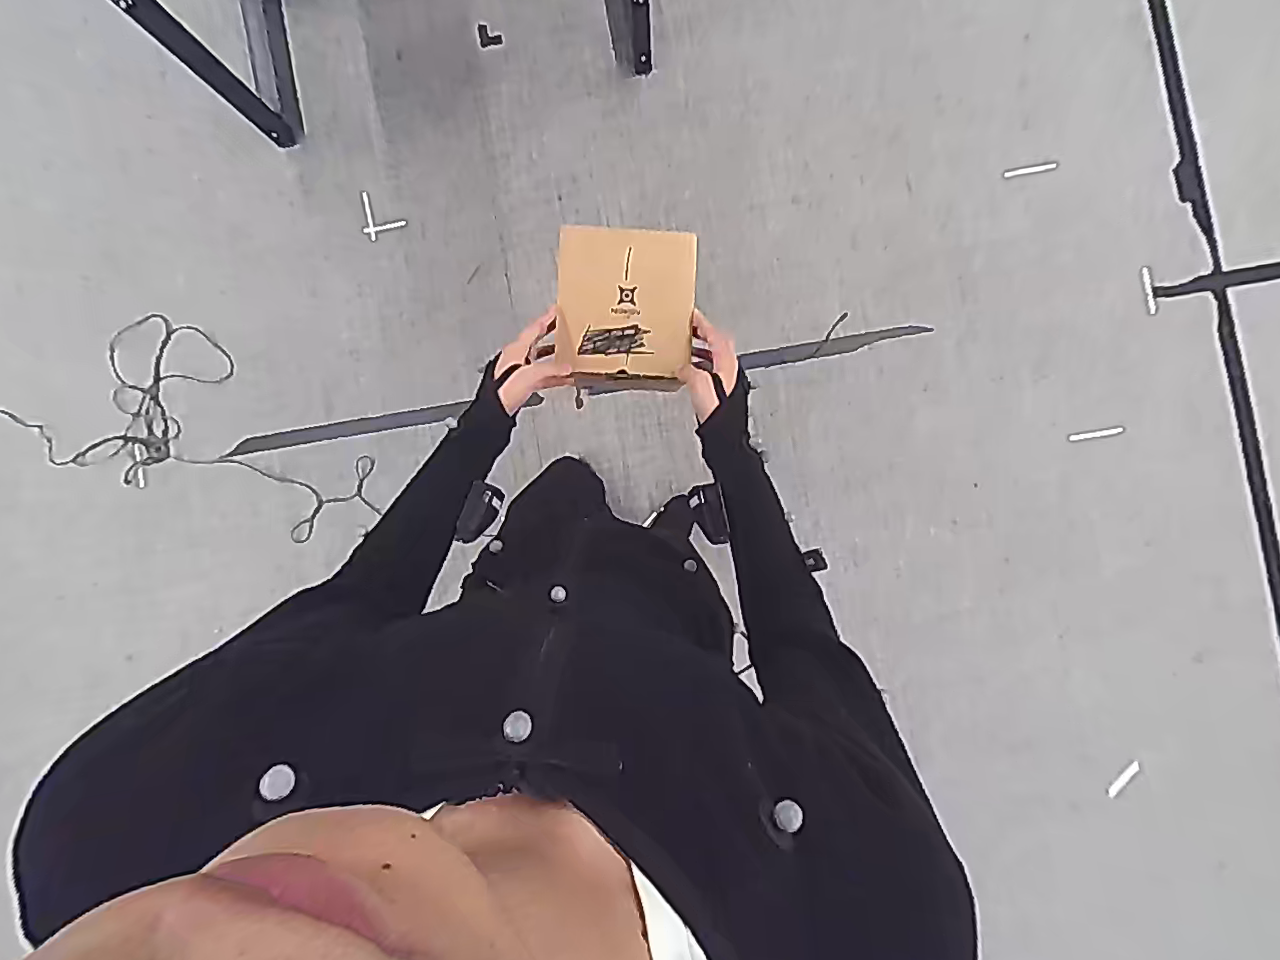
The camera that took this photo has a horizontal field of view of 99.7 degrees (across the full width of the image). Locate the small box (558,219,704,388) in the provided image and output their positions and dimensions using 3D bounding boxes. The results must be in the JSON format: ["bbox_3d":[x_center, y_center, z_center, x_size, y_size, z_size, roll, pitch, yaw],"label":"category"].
[{"bbox_3d":[-0.012,-0.218,0.711,0.168,0.176,0.179,3,94,-2],"label":"small box"}]
